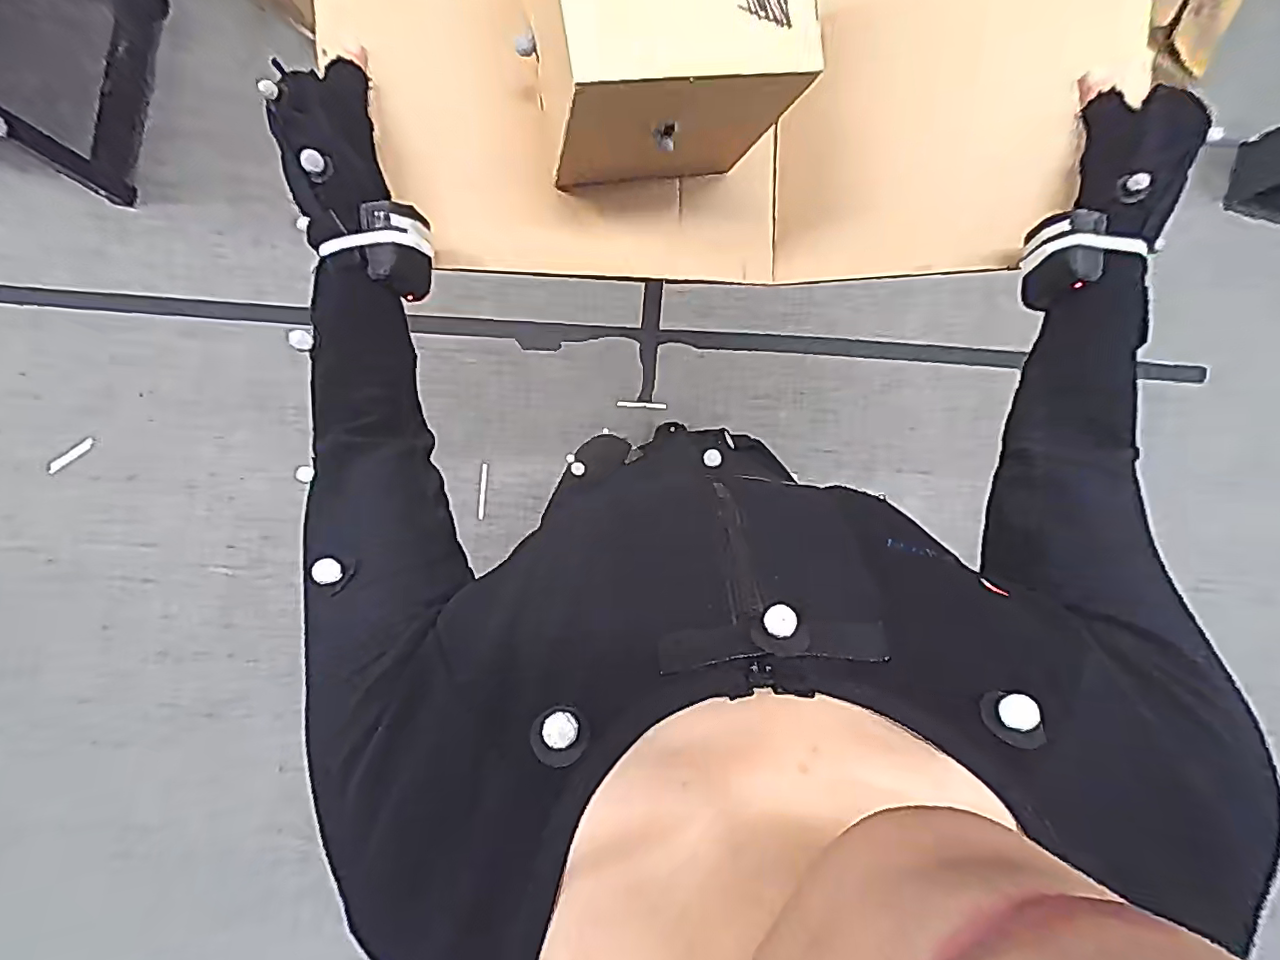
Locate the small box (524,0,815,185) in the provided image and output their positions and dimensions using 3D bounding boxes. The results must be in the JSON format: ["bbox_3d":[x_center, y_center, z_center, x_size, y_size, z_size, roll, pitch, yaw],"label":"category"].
[{"bbox_3d":[0.010,-0.354,0.425,0.179,0.176,0.168,-11,100,-11],"label":"small box"}]
